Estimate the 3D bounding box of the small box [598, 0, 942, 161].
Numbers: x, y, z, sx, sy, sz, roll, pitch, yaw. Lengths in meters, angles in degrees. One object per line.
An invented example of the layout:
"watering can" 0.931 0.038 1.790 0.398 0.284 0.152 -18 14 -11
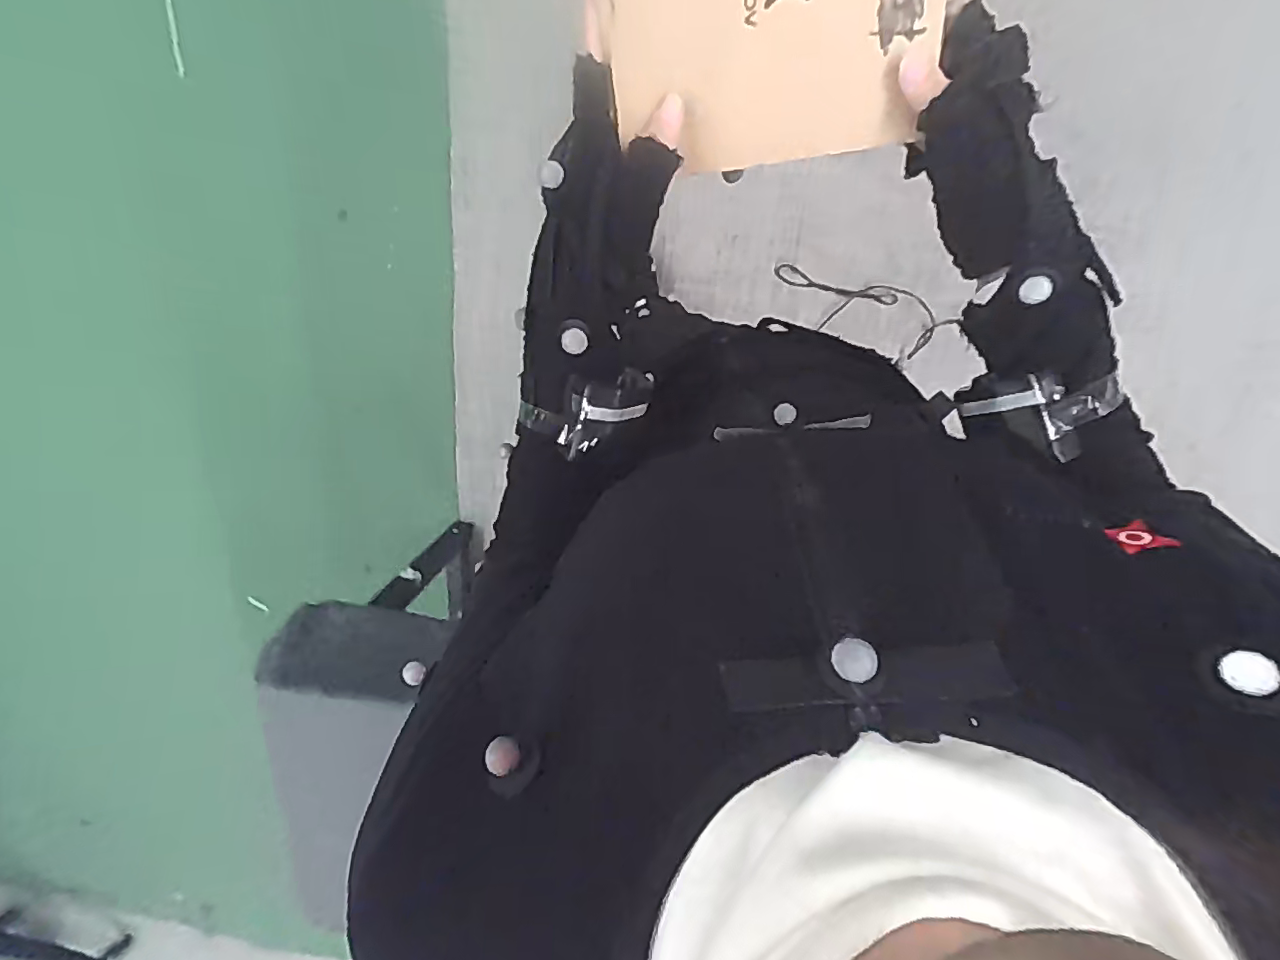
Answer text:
"small box" 0.068 -0.306 0.337 0.179 0.176 0.168 -7 121 8
